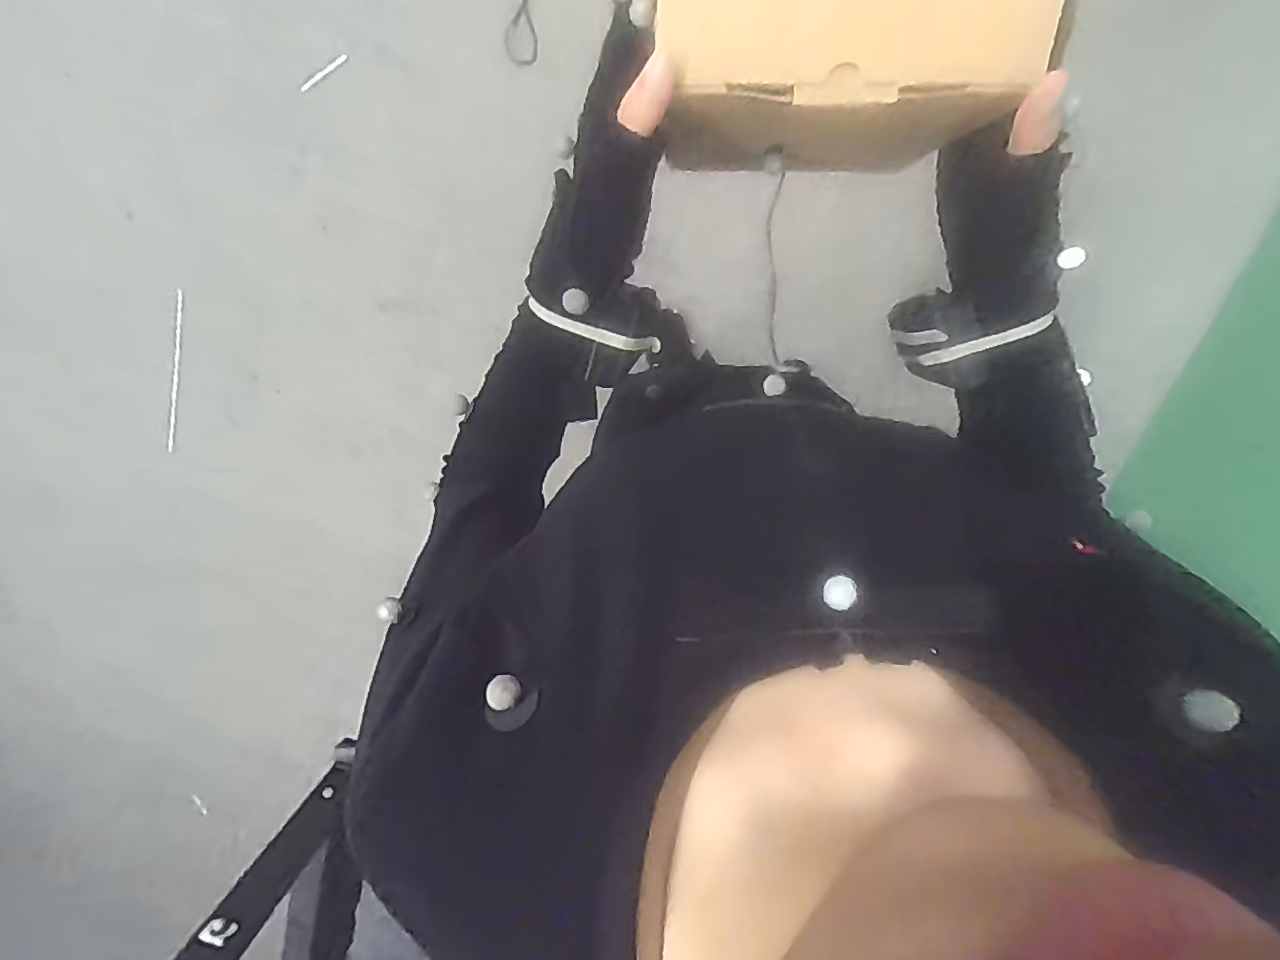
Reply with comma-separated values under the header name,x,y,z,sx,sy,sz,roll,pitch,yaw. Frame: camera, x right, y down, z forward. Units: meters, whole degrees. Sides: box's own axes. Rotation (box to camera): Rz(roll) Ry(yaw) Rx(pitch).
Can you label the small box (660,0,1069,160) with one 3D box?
name,x,y,z,sx,sy,sz,roll,pitch,yaw
small box,0.097,-0.281,0.274,0.168,0.176,0.179,2,111,4
